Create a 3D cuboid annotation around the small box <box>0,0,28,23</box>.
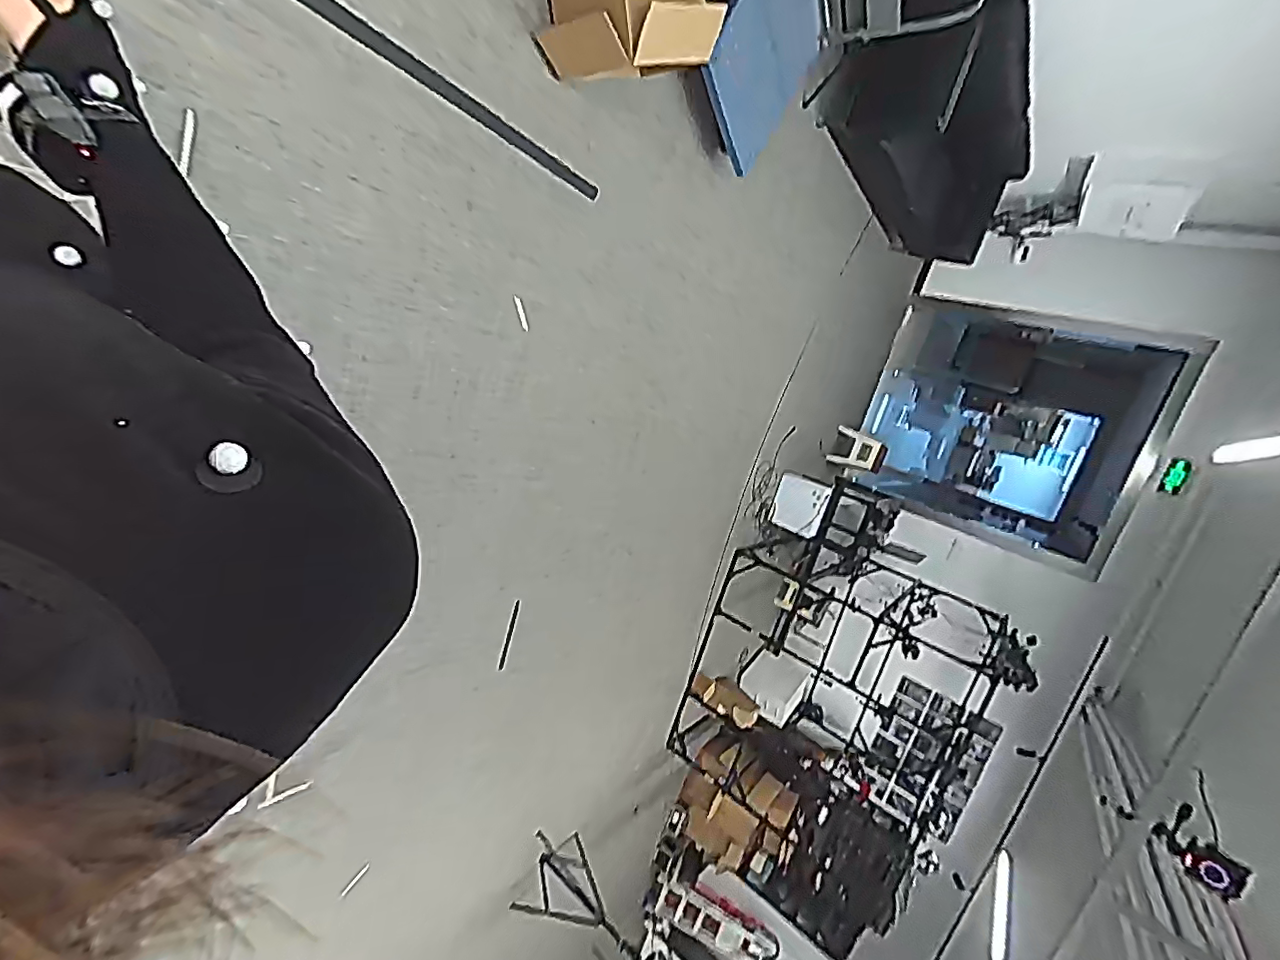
[{"bbox_3d":[-0.610,-0.465,0.399,0.168,0.176,0.179,-22,130,-35],"label":"small box"}]
